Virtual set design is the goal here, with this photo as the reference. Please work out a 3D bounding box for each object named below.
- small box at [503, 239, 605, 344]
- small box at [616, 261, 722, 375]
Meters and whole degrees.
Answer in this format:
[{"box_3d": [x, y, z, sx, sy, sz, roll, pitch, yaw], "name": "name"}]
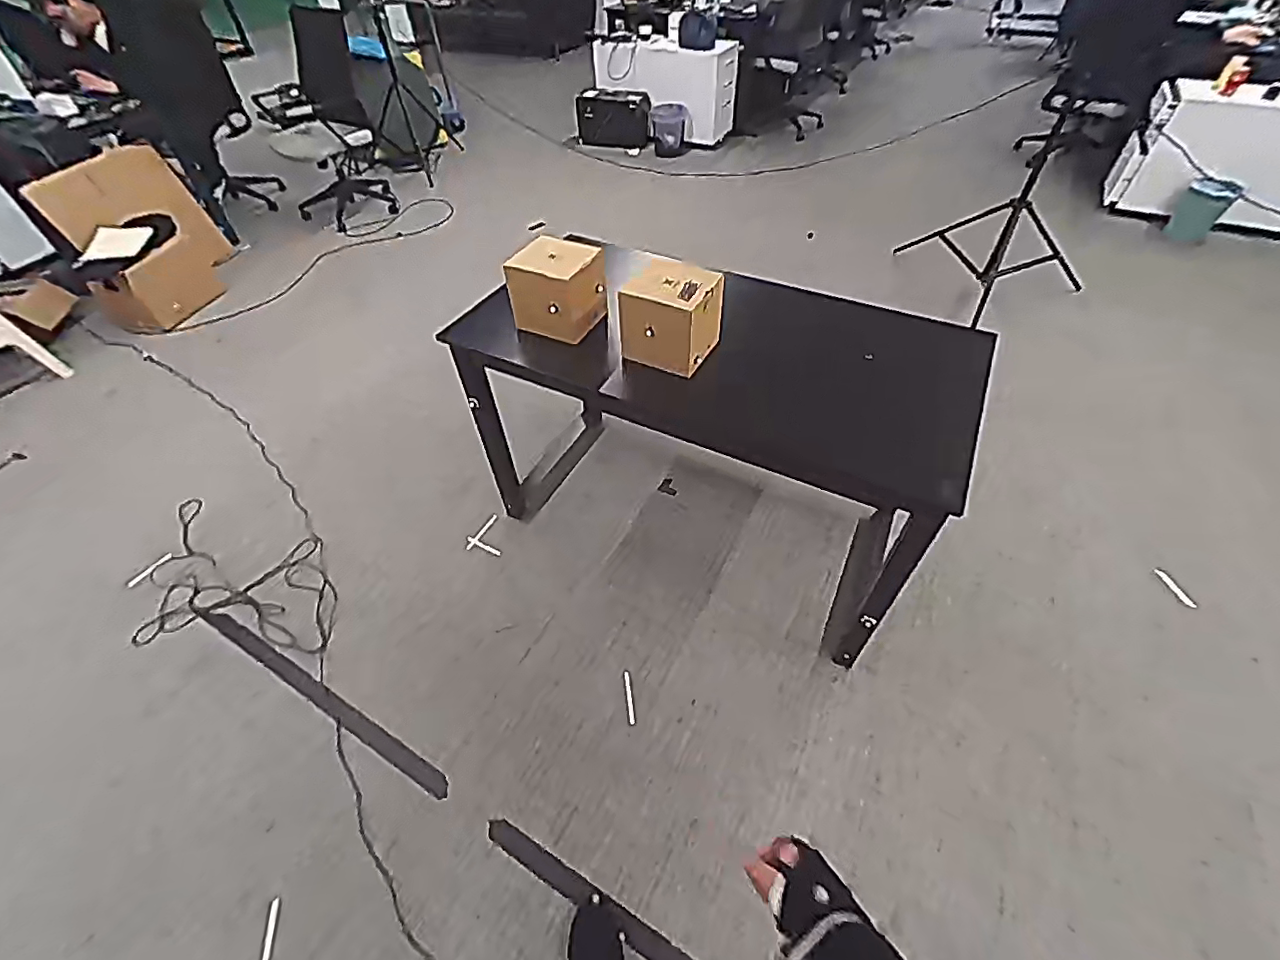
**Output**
[{"box_3d": [-0.198, -0.450, 1.303, 0.179, 0.176, 0.168, 19, 51, 18], "name": "small box"}, {"box_3d": [0.067, -0.358, 1.209, 0.179, 0.176, 0.168, 21, 52, 21], "name": "small box"}]
